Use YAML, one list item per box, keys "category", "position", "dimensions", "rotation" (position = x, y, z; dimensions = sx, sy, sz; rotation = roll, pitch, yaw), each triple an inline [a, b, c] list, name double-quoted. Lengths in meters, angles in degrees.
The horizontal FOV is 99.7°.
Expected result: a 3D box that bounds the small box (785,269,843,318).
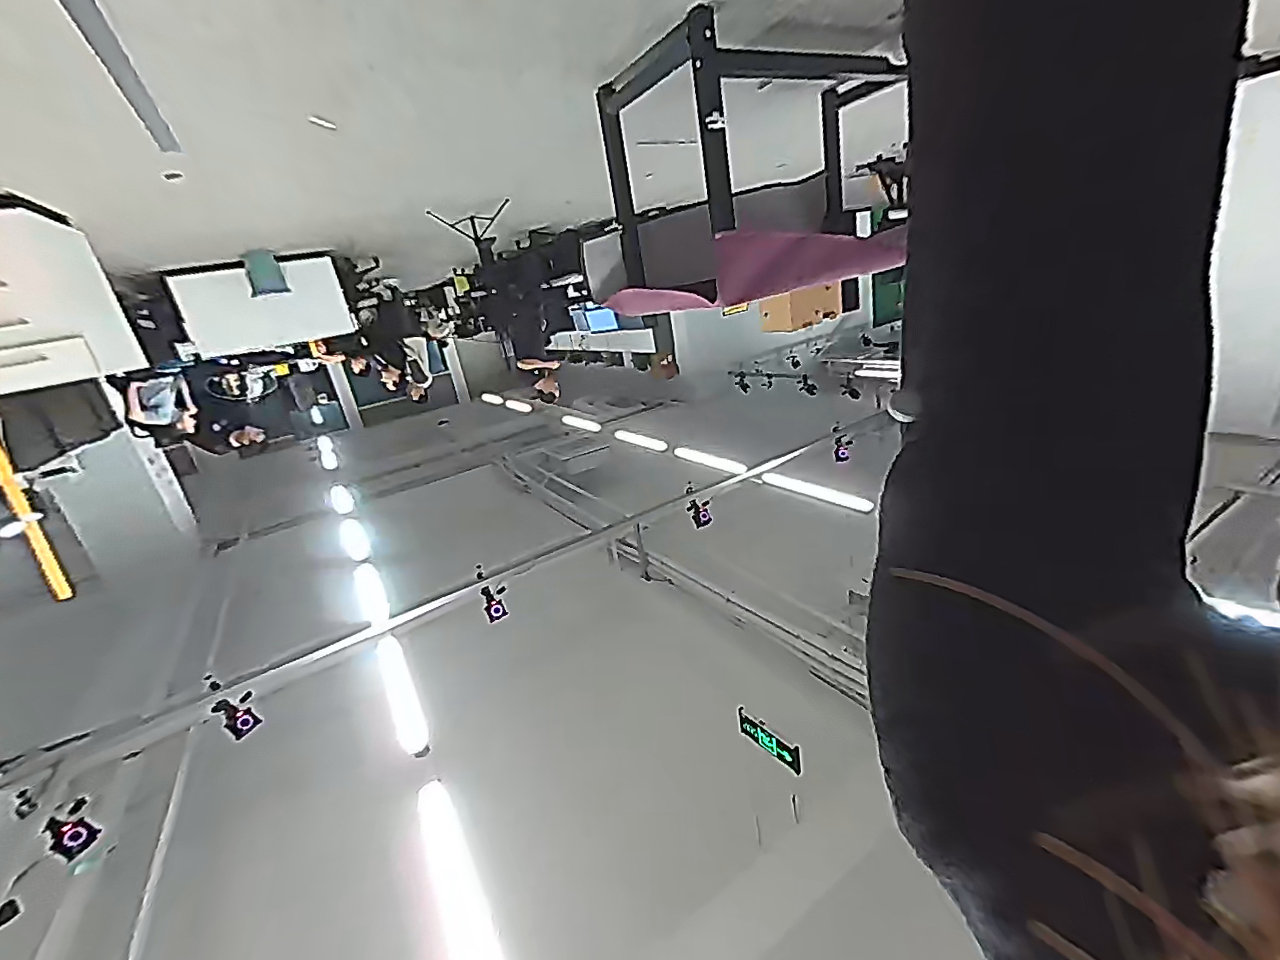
- category: "small box"
  position: [0.728, -0.786, 2.272]
  dimensions: [0.168, 0.176, 0.179]
  rotation: [-21, -157, -25]
